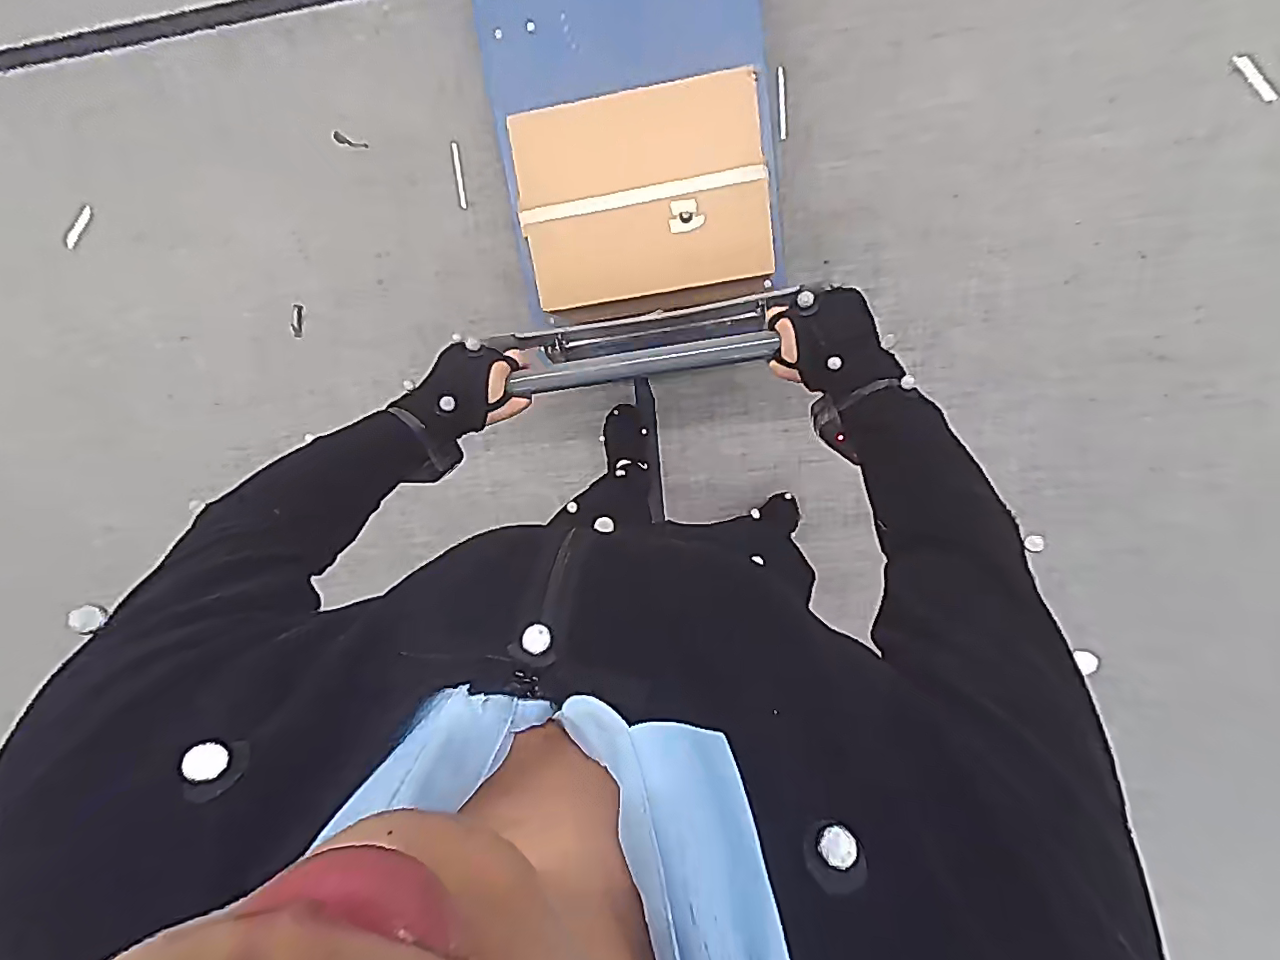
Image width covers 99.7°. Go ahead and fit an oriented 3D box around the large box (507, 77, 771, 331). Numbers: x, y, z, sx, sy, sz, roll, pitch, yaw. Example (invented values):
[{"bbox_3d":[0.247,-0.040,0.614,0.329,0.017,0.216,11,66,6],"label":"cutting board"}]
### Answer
[{"bbox_3d":[0.008,-0.484,1.037,0.408,0.320,0.320,-8,102,5],"label":"large box"}]
